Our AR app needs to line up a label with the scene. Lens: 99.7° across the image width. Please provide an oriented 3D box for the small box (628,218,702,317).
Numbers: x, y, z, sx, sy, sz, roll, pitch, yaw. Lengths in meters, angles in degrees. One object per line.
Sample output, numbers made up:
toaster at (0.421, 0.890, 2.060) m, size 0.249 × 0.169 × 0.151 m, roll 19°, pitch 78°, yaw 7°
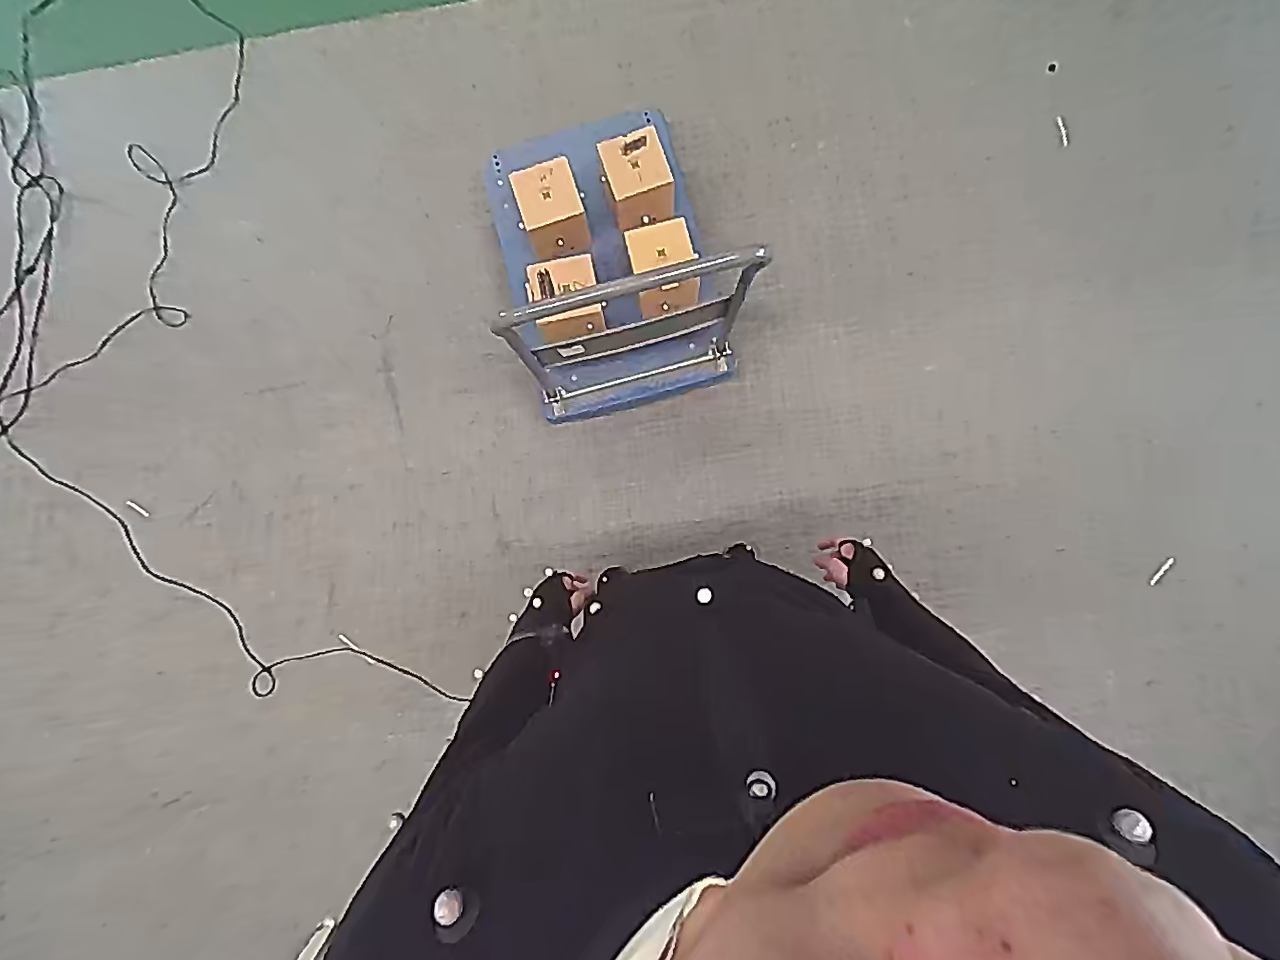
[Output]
small box at (0.066, -0.577, 1.485) m, size 0.168 × 0.176 × 0.179 m, roll -14°, pitch 83°, yaw 1°

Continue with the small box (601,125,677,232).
small box at (-0.002, -0.837, 1.517) m, size 0.168 × 0.176 × 0.179 m, roll -18°, pitch 84°, yaw 2°

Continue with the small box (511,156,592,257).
small box at (-0.241, -0.755, 1.521) m, size 0.168 × 0.176 × 0.179 m, roll -18°, pitch 83°, yaw 0°
